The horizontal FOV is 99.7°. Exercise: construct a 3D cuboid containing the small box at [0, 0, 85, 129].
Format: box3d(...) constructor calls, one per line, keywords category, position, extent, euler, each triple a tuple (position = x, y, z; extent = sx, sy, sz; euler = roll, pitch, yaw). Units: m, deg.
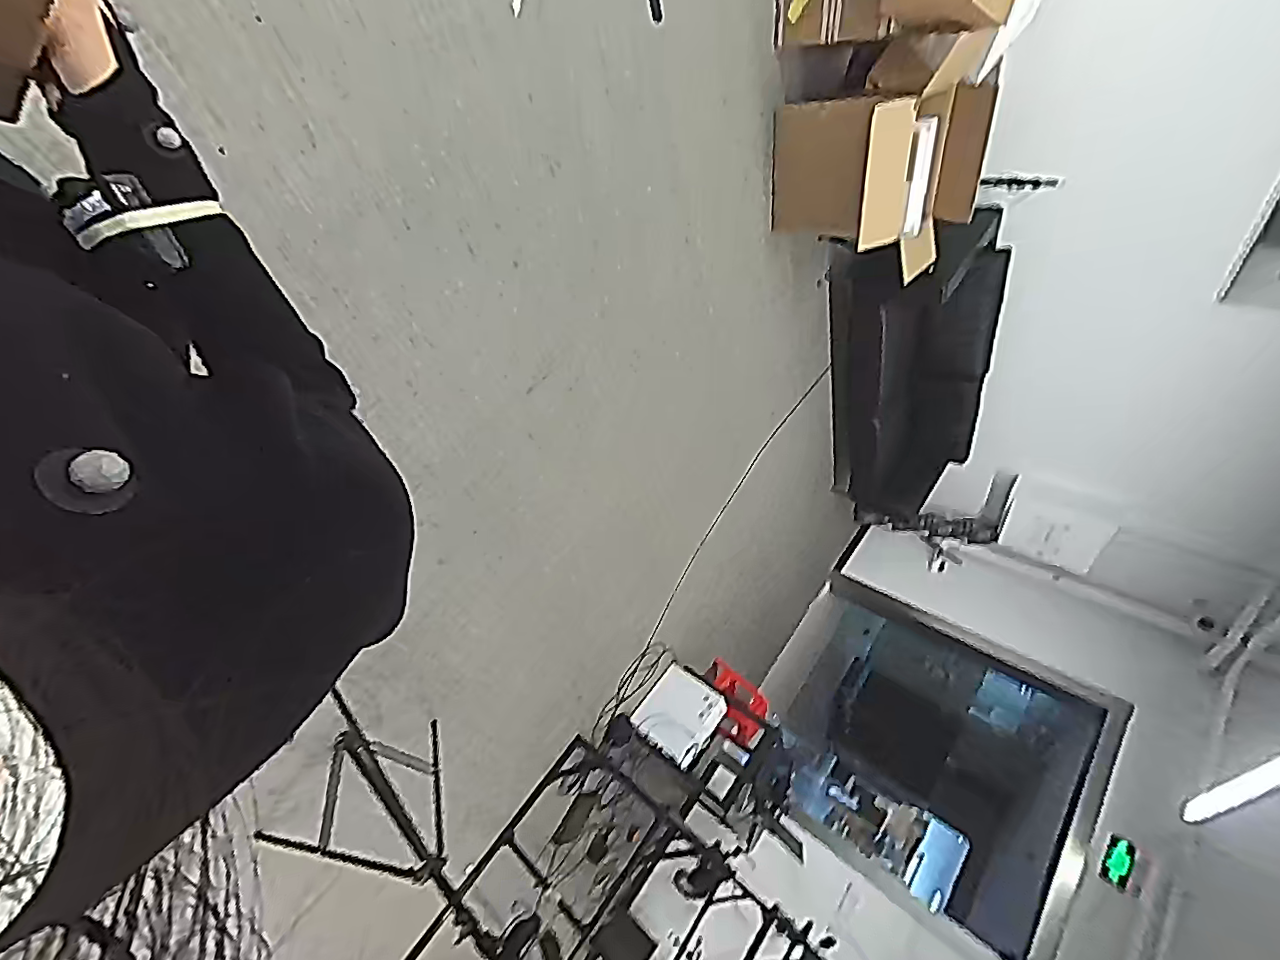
box3d(category="small box", position=(-0.404, -0.311, 0.248), extent=(0.168, 0.176, 0.179), euler=(-17, 99, -54))
